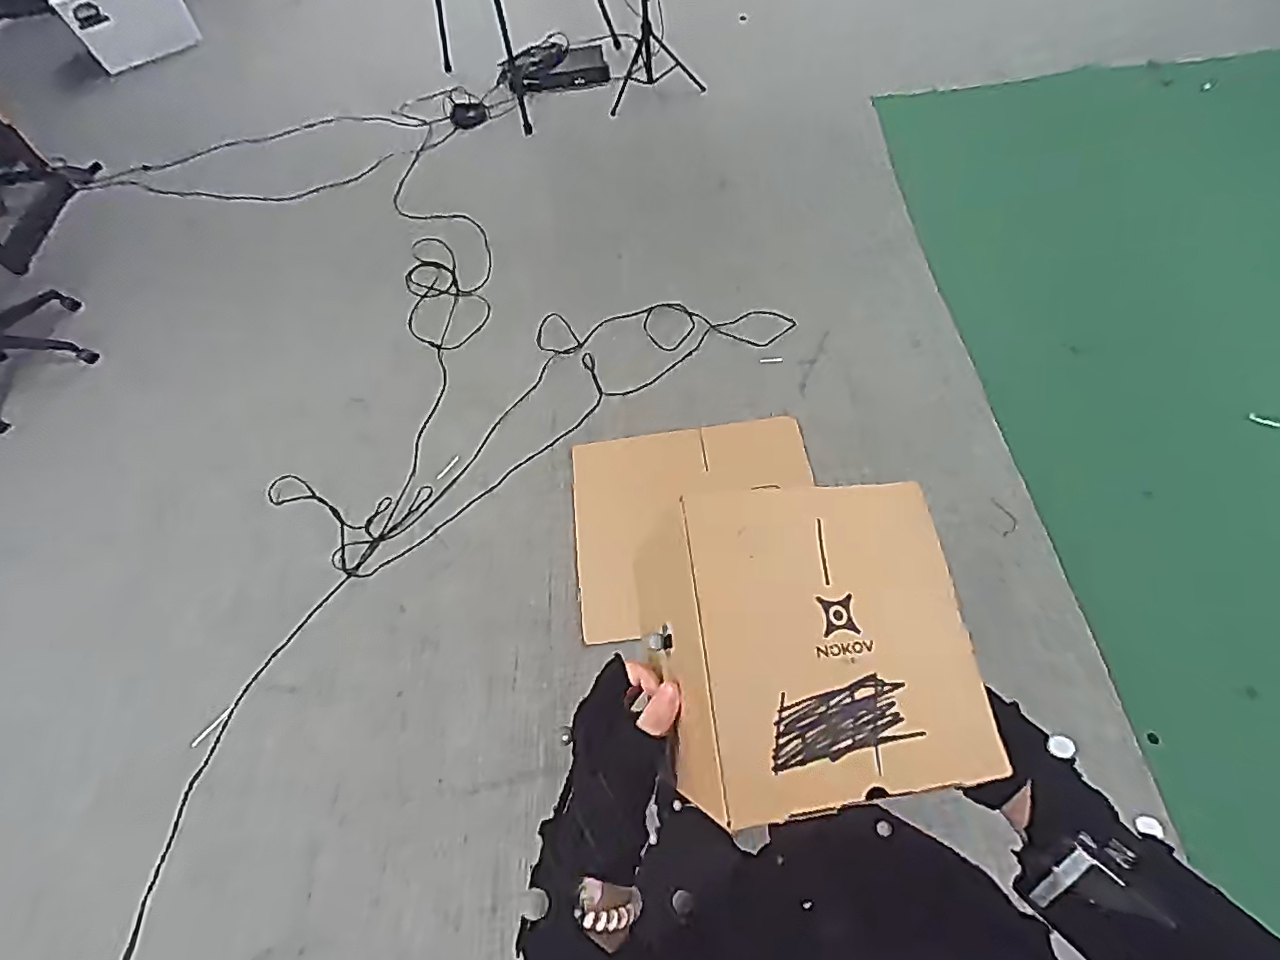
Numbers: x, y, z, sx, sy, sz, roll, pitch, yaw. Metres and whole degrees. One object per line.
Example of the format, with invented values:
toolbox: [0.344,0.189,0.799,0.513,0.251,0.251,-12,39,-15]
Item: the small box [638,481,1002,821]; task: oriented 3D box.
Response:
small box: [0.099,0.111,0.384,0.168,0.176,0.179,-3,71,-12]
